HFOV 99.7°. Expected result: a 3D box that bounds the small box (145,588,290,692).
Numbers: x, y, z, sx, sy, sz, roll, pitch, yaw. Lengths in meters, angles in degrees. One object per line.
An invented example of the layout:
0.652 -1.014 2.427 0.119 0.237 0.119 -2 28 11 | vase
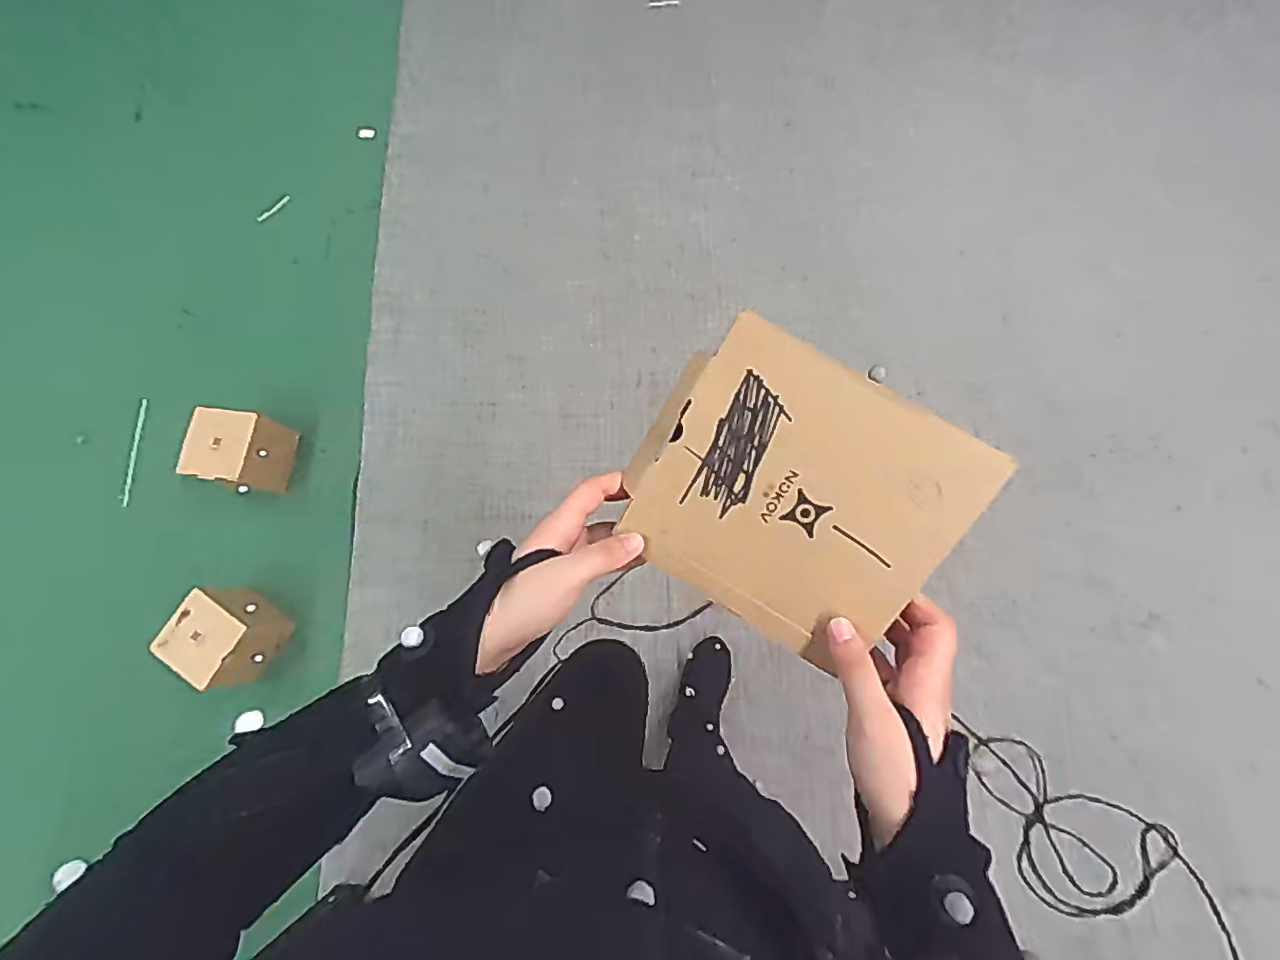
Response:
-0.995 0.372 1.291 0.179 0.176 0.168 32 81 9 | small box

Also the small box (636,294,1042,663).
0.126 -0.010 0.400 0.179 0.176 0.168 32 106 5 | small box

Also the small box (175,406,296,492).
-1.033 -0.074 1.398 0.168 0.176 0.179 7 76 3 | small box
